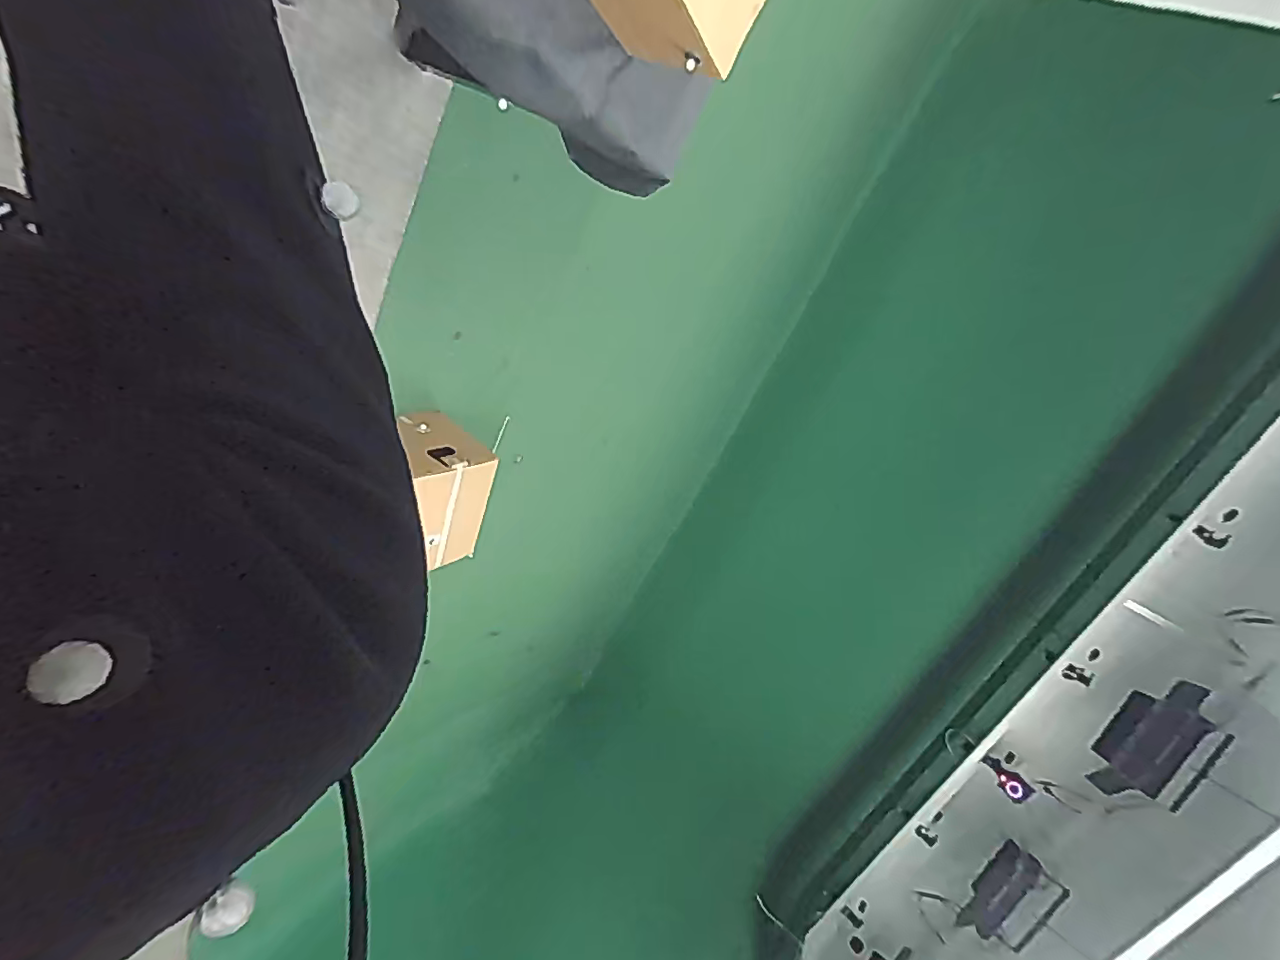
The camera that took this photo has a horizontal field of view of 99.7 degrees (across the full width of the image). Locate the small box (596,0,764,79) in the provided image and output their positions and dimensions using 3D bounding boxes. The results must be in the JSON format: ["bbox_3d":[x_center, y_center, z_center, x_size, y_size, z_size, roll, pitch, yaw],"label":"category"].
[{"bbox_3d":[0.042,-0.612,0.617,0.179,0.176,0.168,-3,125,-62],"label":"small box"}]
